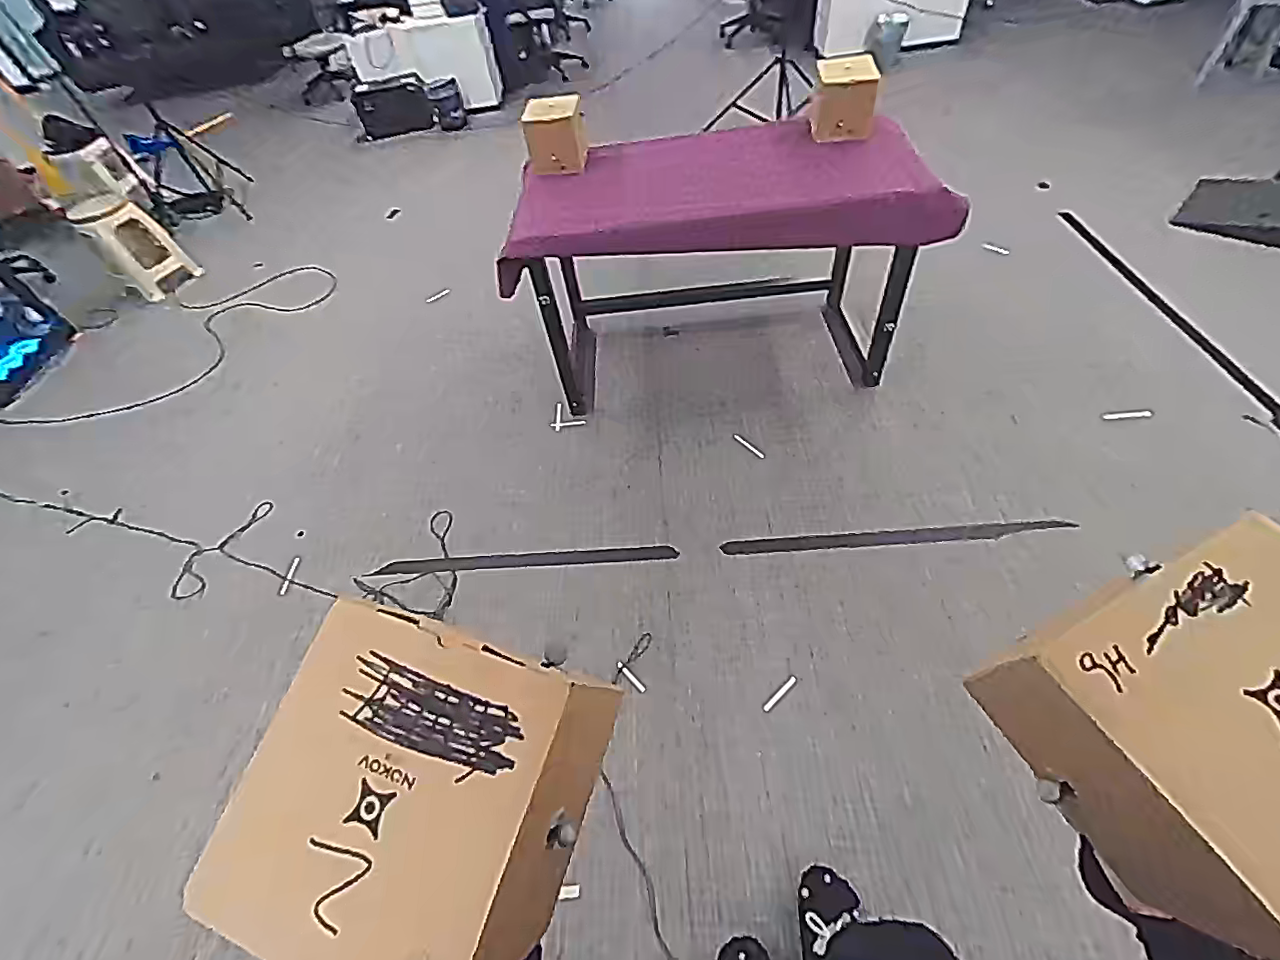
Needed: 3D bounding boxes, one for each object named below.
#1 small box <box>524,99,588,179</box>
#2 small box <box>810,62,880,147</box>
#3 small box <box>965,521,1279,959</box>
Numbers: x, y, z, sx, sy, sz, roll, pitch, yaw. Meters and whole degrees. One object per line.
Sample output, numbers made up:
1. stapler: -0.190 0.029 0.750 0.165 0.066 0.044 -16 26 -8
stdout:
1. small box: -0.270 -1.127 1.790 0.168 0.176 0.179 -1 54 7
2. small box: 0.640 -1.185 1.709 0.168 0.176 0.179 -1 56 7
3. small box: 0.363 0.160 0.358 0.168 0.176 0.179 -32 62 -1
